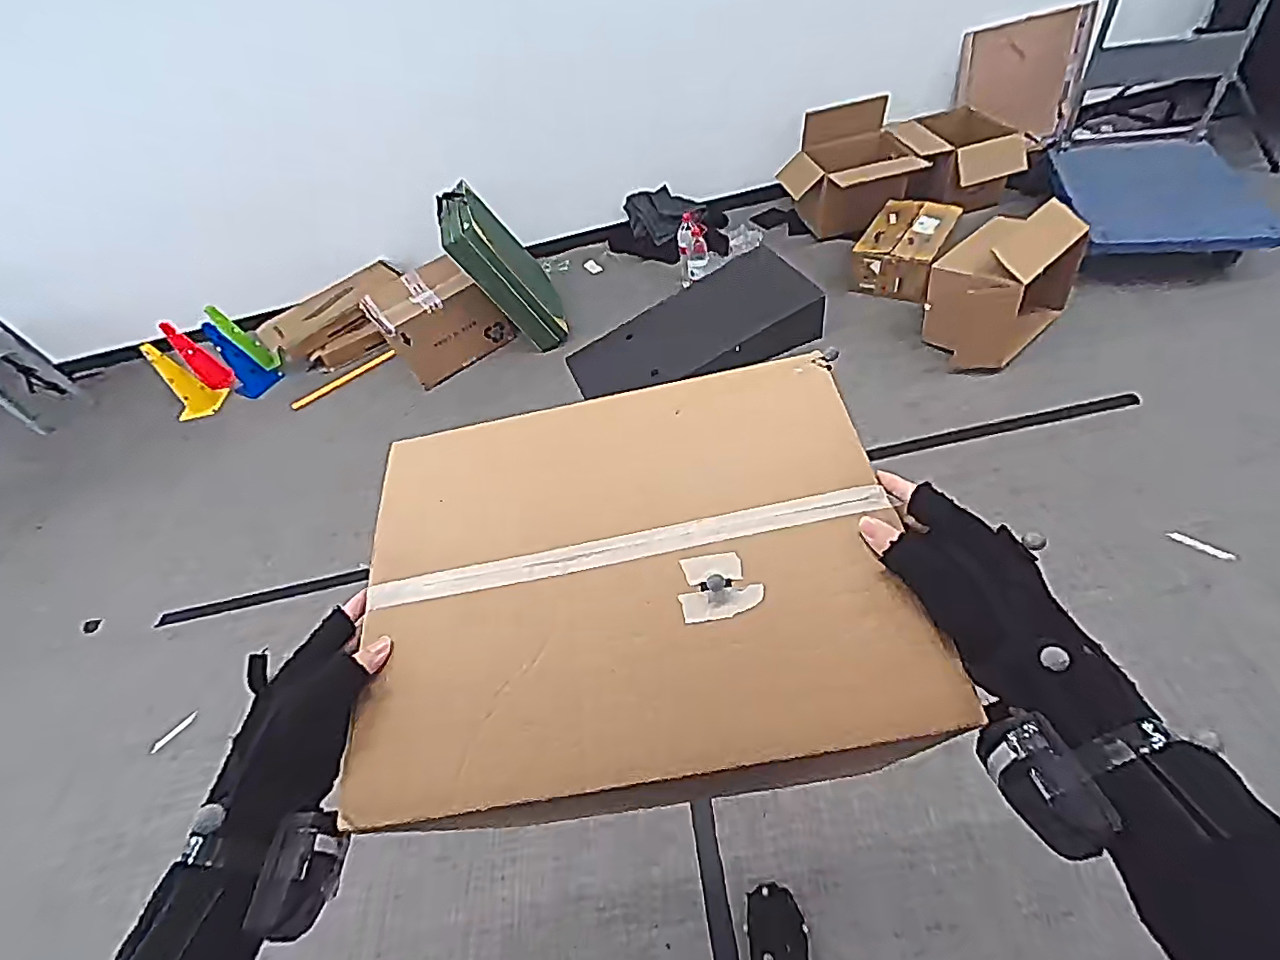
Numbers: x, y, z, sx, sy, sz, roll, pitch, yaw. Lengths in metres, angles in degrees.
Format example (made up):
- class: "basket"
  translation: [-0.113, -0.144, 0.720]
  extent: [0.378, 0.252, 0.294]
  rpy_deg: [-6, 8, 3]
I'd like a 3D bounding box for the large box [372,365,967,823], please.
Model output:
- class: "large box"
  translation: [0.015, 0.137, 0.553]
  extent: [0.408, 0.320, 0.320]
  rpy_deg: [-11, 57, 3]
